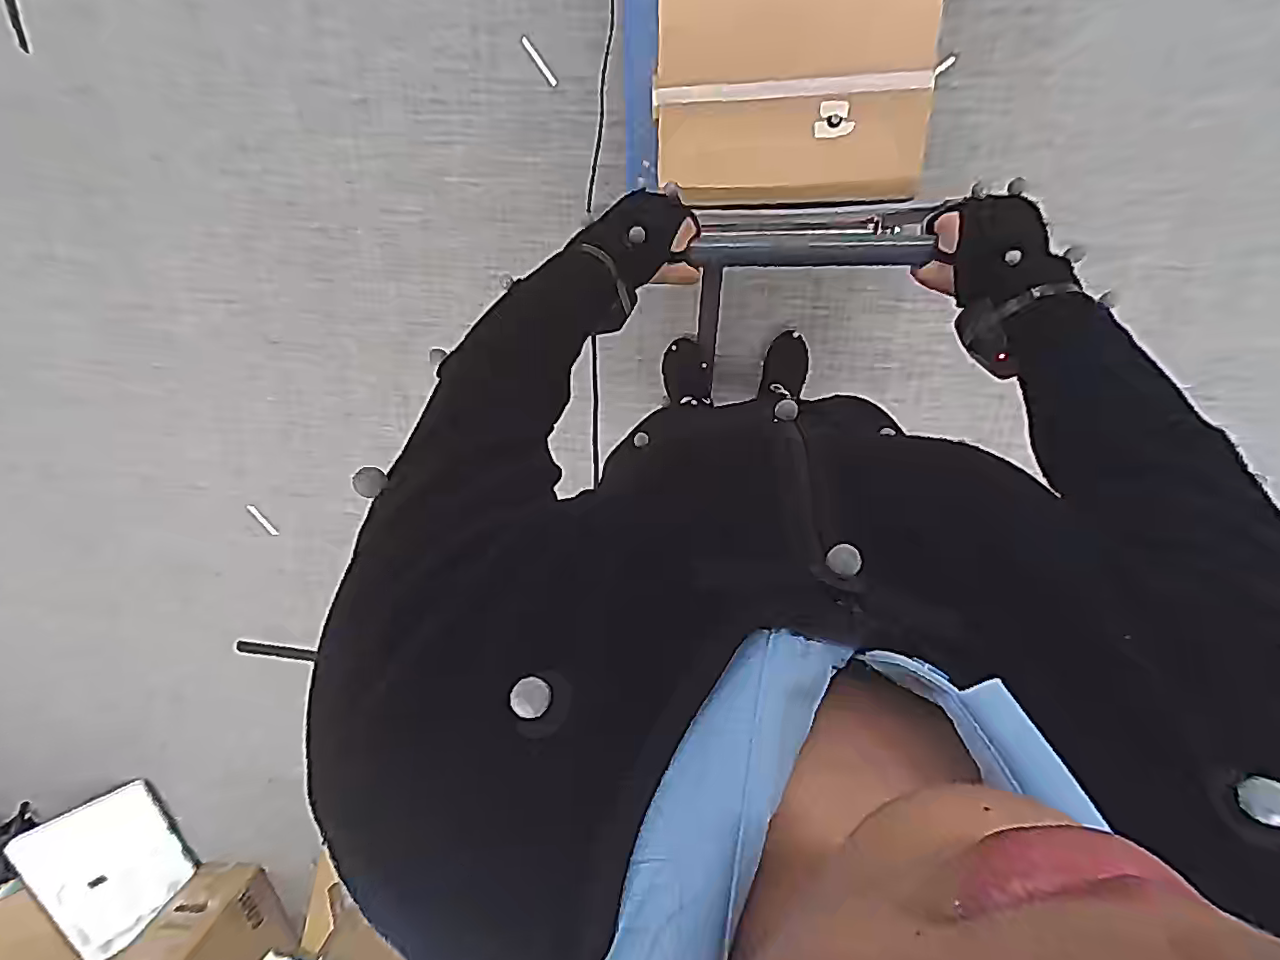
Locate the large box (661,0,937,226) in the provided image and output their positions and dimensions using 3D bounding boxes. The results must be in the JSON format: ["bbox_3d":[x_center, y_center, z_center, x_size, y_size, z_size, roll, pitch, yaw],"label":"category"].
[{"bbox_3d":[0.249,-0.648,0.968,0.408,0.320,0.320,1,110,7],"label":"large box"}]
